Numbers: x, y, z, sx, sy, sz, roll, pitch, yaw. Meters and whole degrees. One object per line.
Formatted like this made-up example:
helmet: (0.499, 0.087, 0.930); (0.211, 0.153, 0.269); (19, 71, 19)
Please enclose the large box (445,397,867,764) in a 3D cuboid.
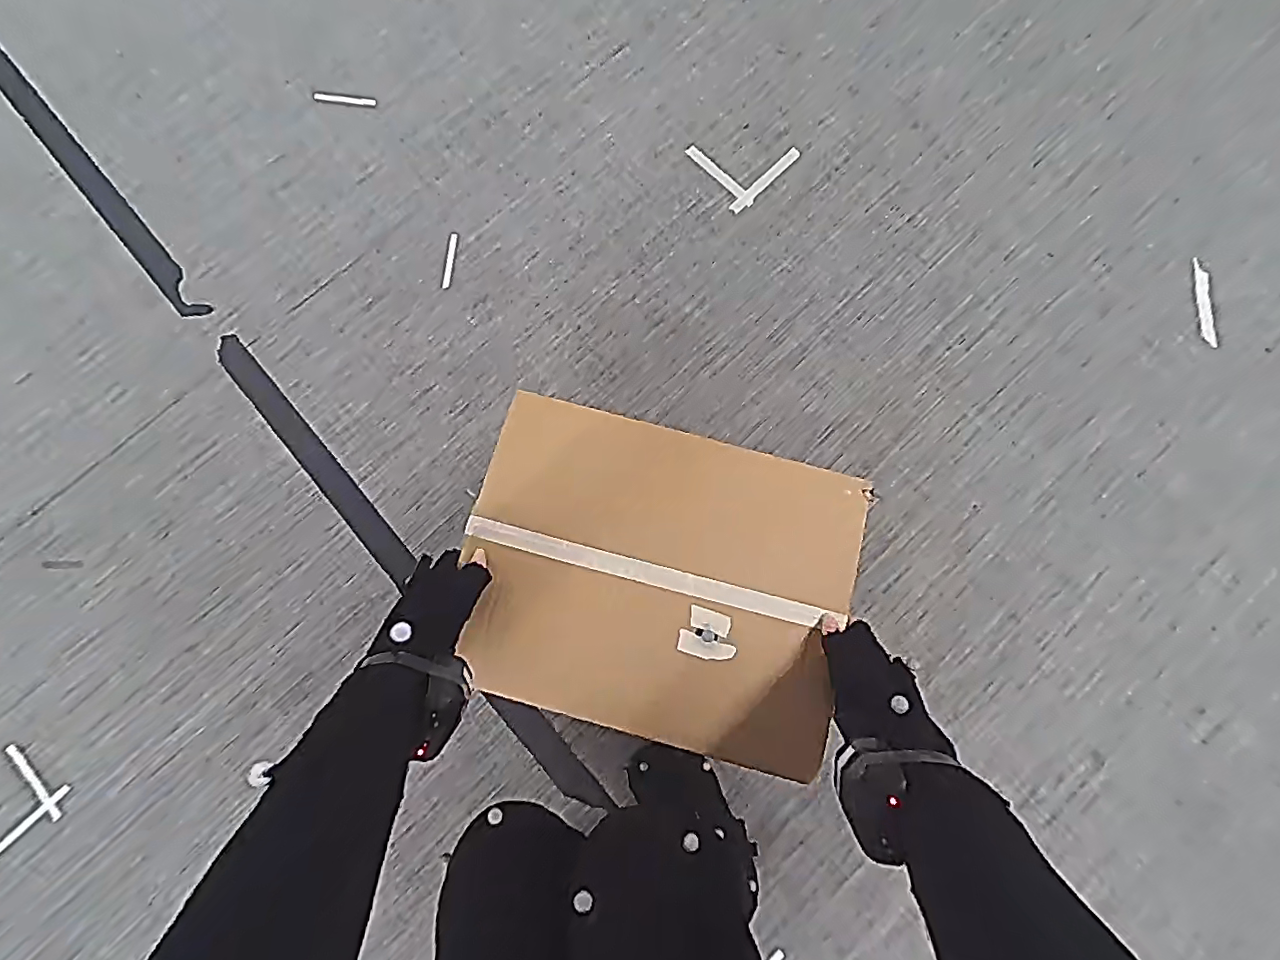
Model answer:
large box: (0.022, 0.125, 0.723); (0.408, 0.320, 0.320); (15, 79, 3)
